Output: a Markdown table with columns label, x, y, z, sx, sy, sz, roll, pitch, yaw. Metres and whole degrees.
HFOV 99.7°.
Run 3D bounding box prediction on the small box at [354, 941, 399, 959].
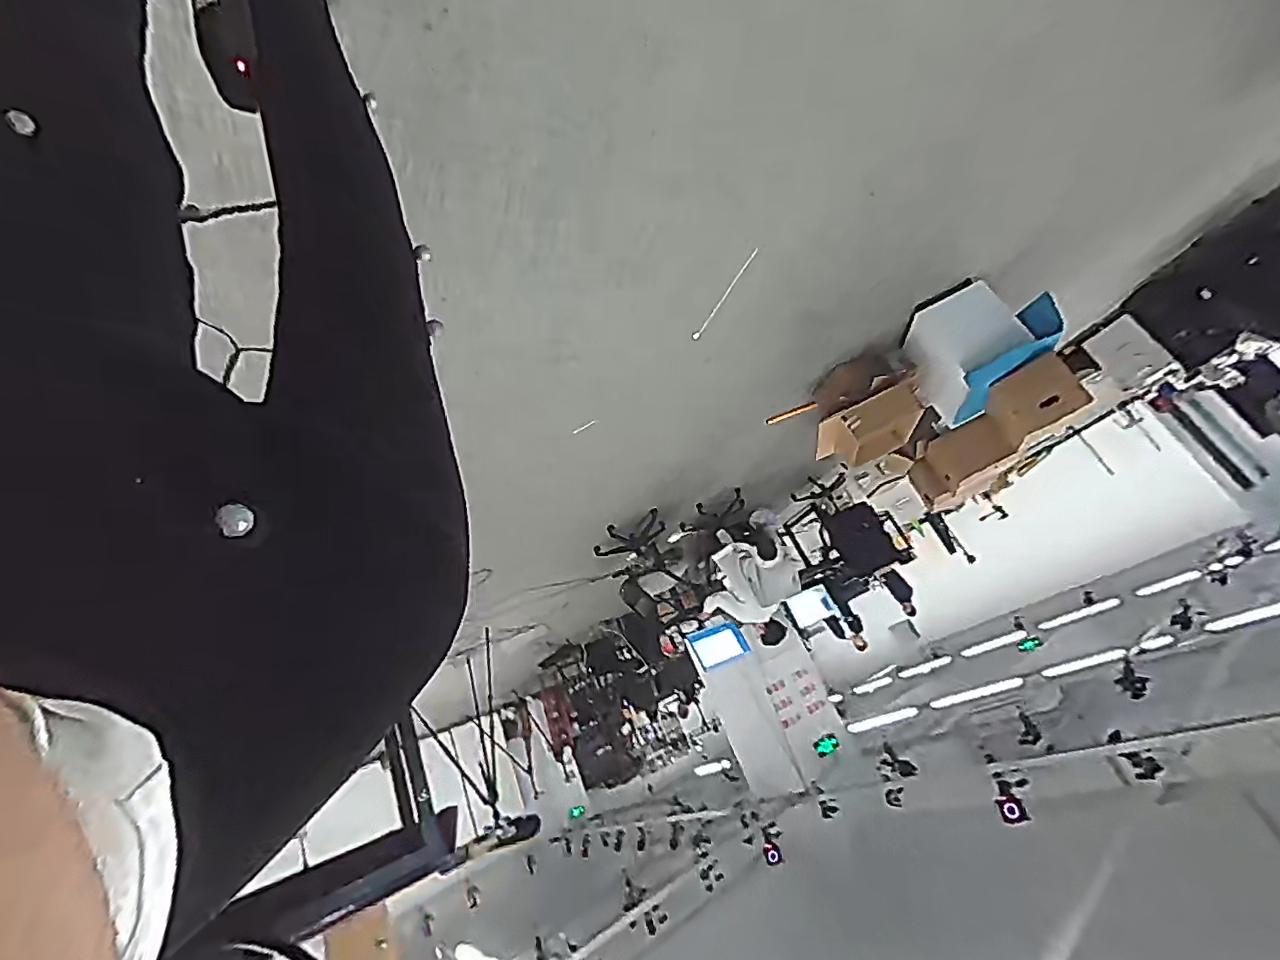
| label | x | y | z | sx | sy | sz | roll | pitch | yaw |
| --- | --- | --- | --- | --- | --- | --- | --- | --- | --- |
| small box | -0.794 | 1.497 | 1.580 | 0.168 | 0.176 | 0.179 | -7 | 154 | -38 |

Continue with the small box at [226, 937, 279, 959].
| label | x | y | z | sx | sy | sz | roll | pitch | yaw |
| --- | --- | --- | --- | --- | --- | --- | --- | --- | --- |
| small box | -1.084 | 1.386 | 1.465 | 0.179 | 0.176 | 0.168 | -8 | 153 | -39 |
